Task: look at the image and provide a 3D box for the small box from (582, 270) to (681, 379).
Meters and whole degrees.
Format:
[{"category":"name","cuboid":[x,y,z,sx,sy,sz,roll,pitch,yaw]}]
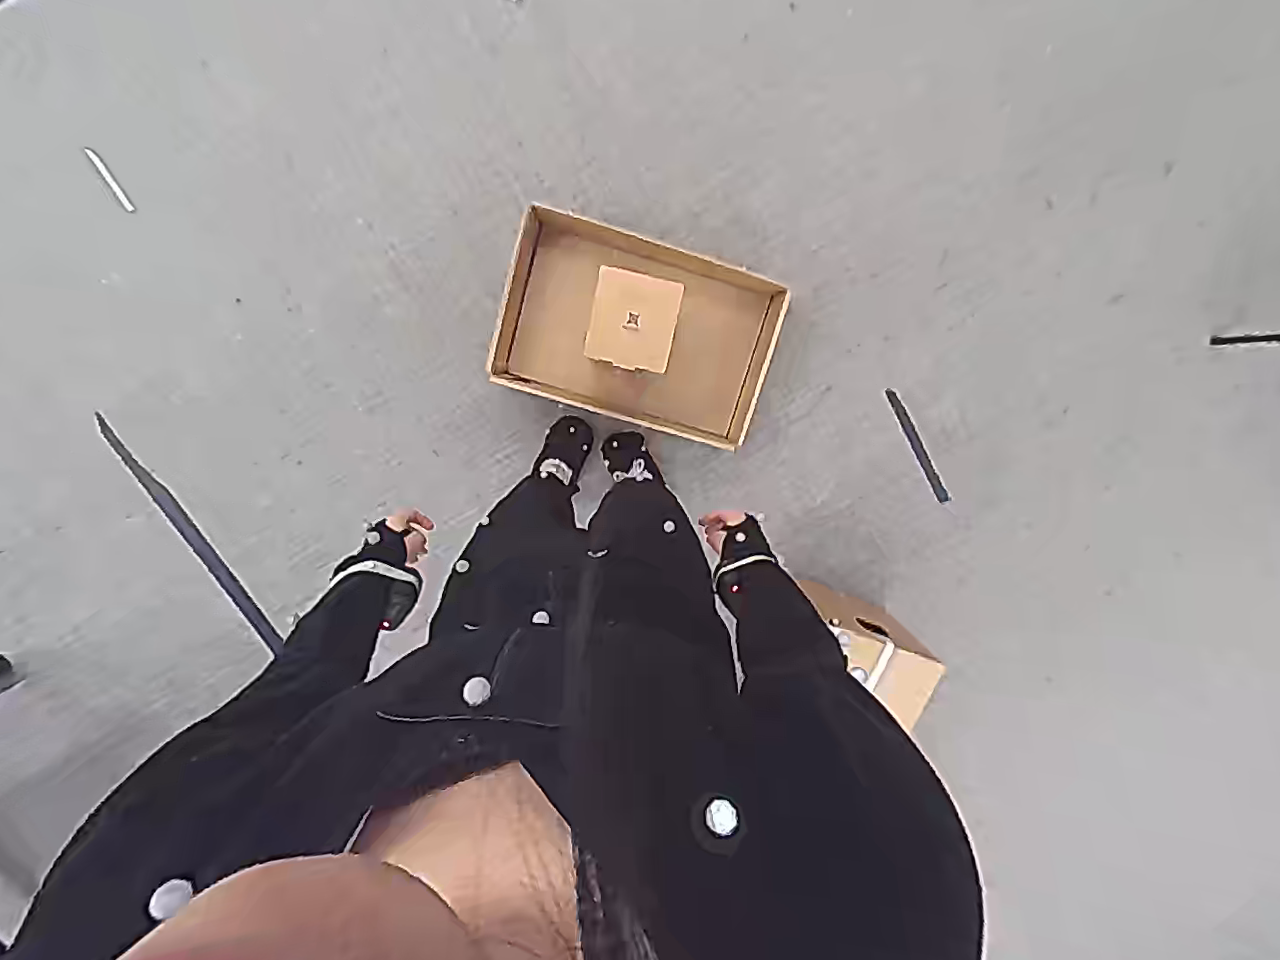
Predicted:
[{"category":"small box","cuboid":[-0.020,-0.314,1.122,0.168,0.176,0.179,11,100,-6]}]
